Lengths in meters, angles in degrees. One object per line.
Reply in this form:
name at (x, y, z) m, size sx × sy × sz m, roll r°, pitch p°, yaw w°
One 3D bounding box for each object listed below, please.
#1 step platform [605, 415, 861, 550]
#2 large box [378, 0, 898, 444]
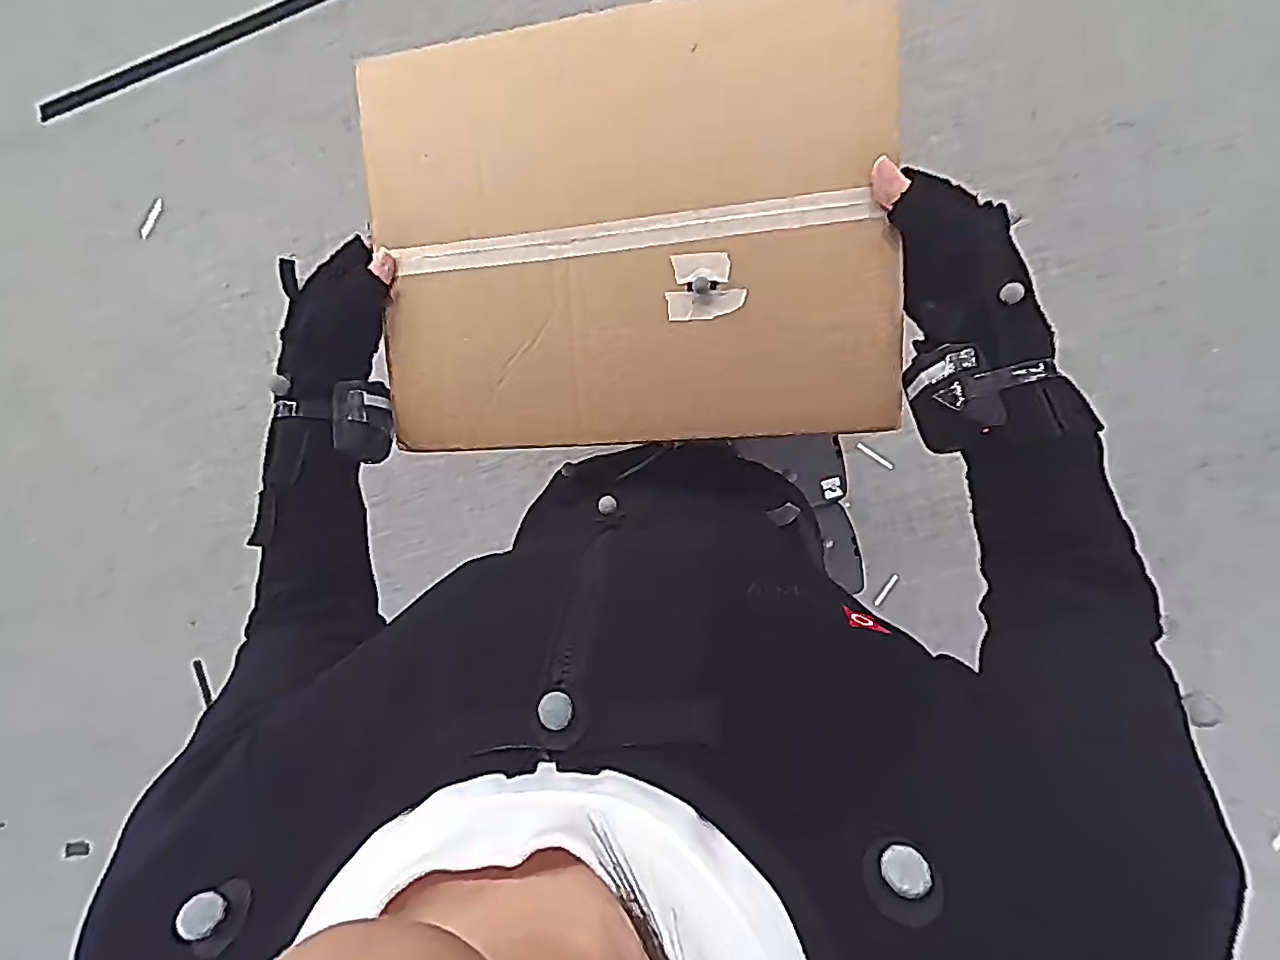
step platform at (0.248, -0.026, 1.513) m, size 0.684 × 0.204 × 0.286 m, roll -17°, pitch 94°, yaw 6°
large box at (0.013, -0.211, 0.566) m, size 0.408 × 0.320 × 0.320 m, roll -2°, pitch 97°, yaw 11°
